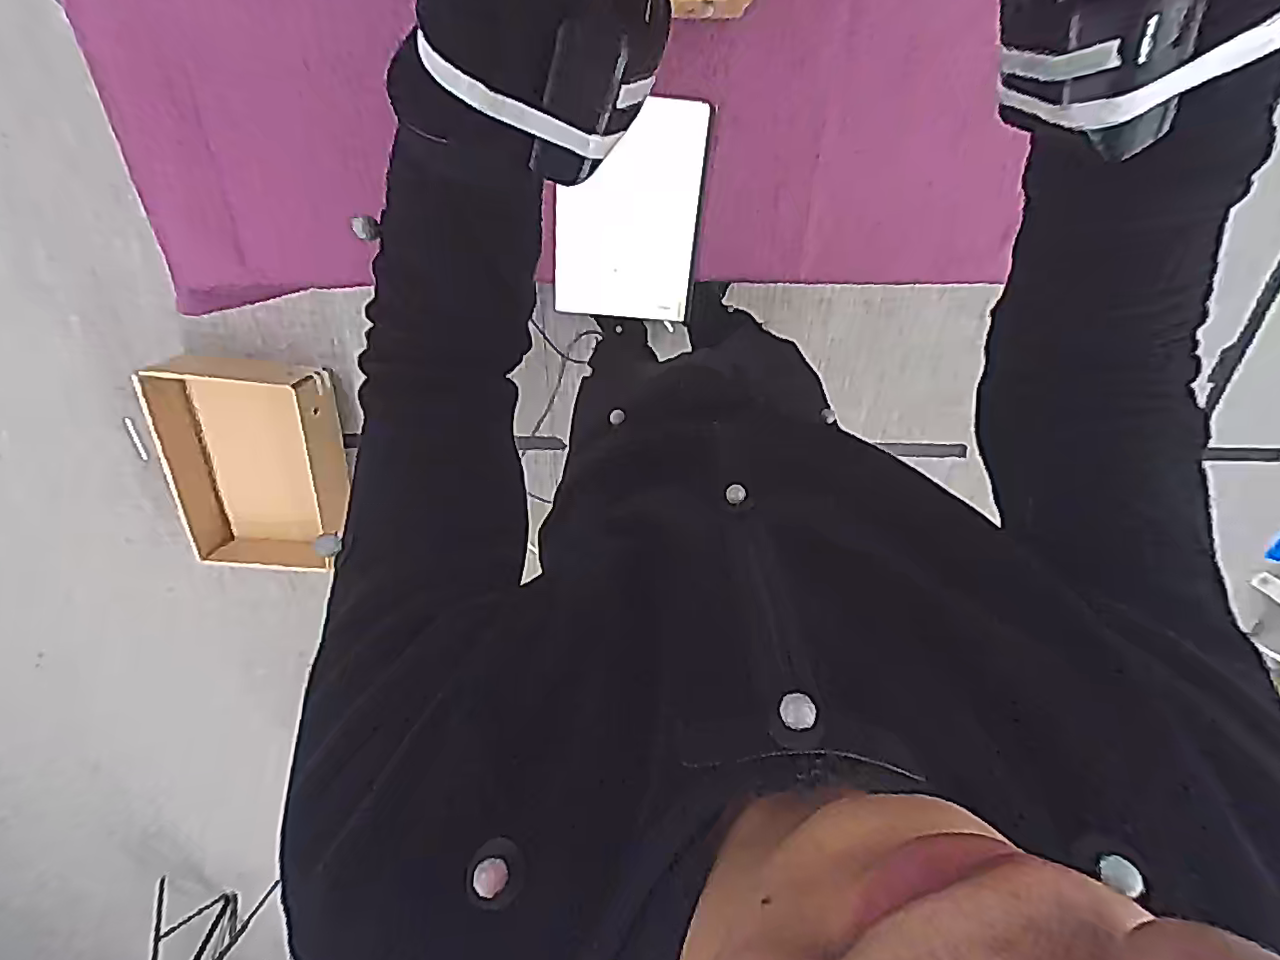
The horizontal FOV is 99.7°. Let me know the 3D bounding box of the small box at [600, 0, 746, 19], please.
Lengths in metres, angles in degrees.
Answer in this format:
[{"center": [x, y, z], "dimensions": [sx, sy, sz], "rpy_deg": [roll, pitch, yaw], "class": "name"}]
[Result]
[{"center": [0.036, -0.561, 0.505], "dimensions": [0.168, 0.176, 0.179], "rpy_deg": [0, 119, -2], "class": "small box"}]
